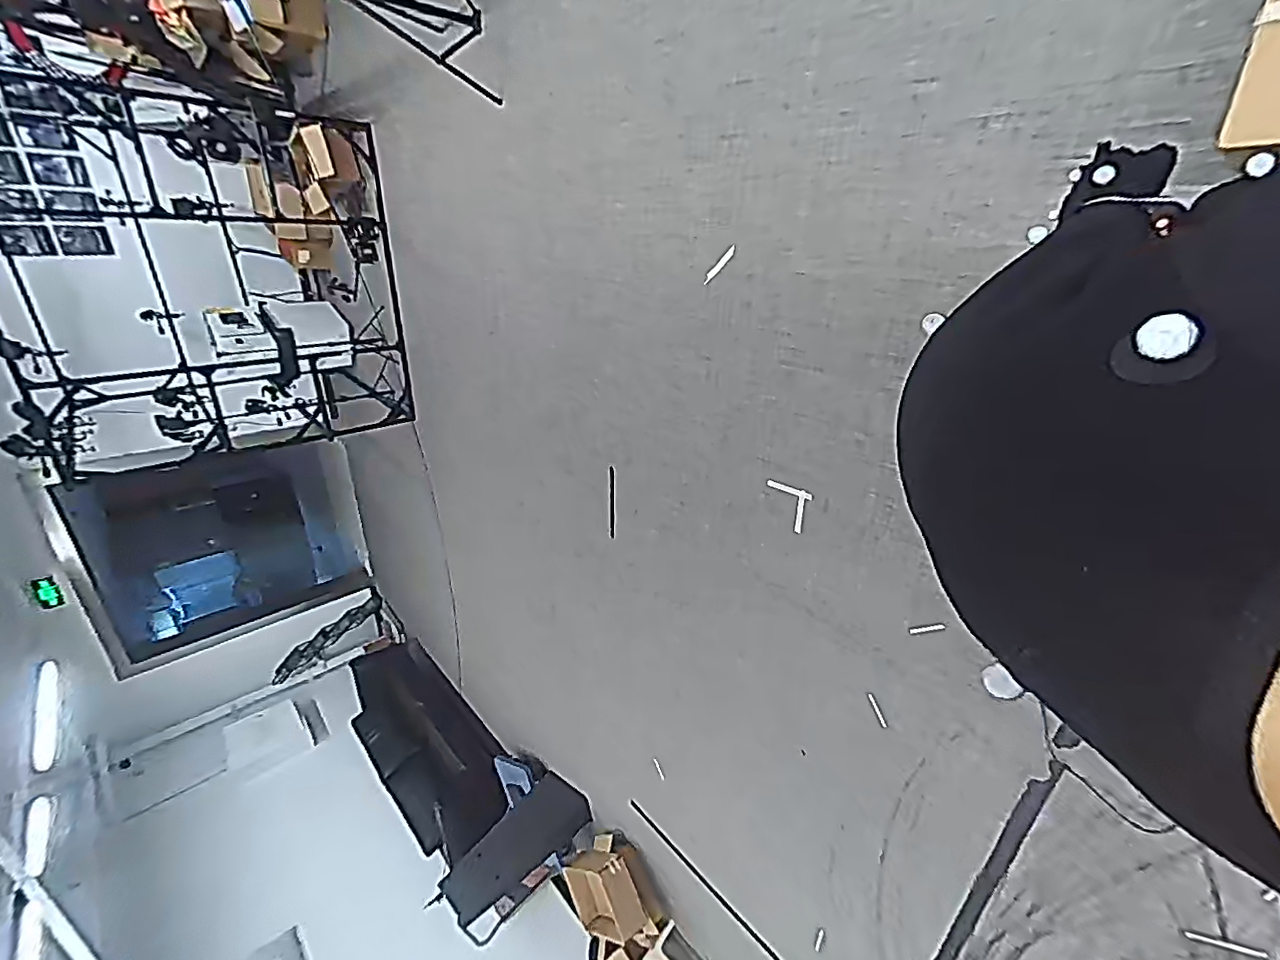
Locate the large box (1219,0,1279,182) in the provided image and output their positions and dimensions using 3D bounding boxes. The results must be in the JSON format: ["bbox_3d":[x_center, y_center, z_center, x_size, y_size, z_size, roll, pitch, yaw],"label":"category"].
[{"bbox_3d":[1.073,-0.588,0.687,0.408,0.320,0.320,22,121,42],"label":"large box"}]
